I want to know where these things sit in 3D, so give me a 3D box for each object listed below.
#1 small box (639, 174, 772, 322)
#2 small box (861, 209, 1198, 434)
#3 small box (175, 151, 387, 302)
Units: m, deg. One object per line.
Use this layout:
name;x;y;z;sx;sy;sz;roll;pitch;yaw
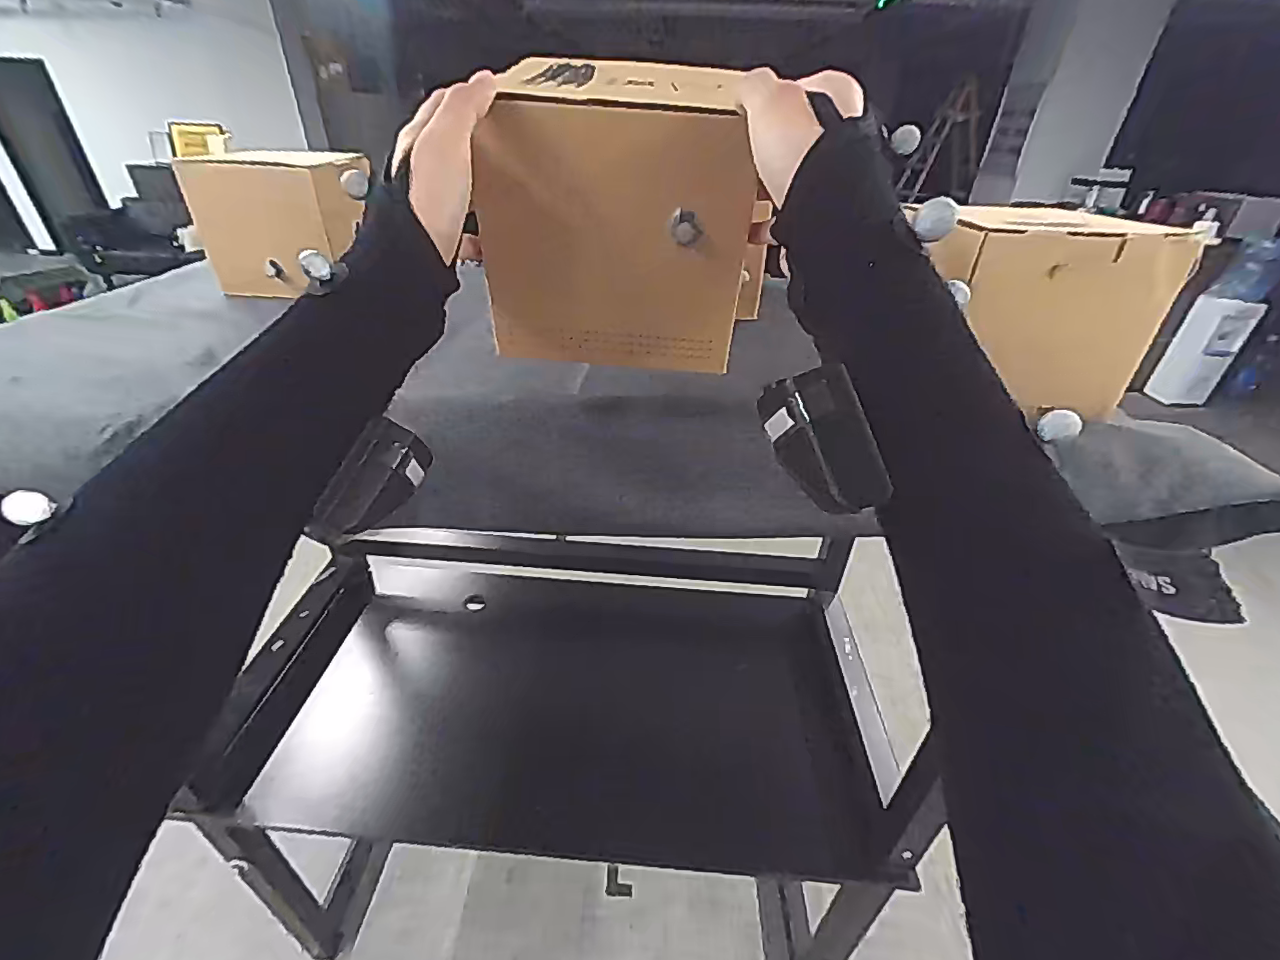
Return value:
small box;0.085;-0.333;0.773;0.168;0.176;0.179;3;33;1
small box;0.334;-0.154;0.513;0.168;0.176;0.179;2;32;0
small box;-0.492;-0.364;0.777;0.179;0.176;0.168;3;34;-1
